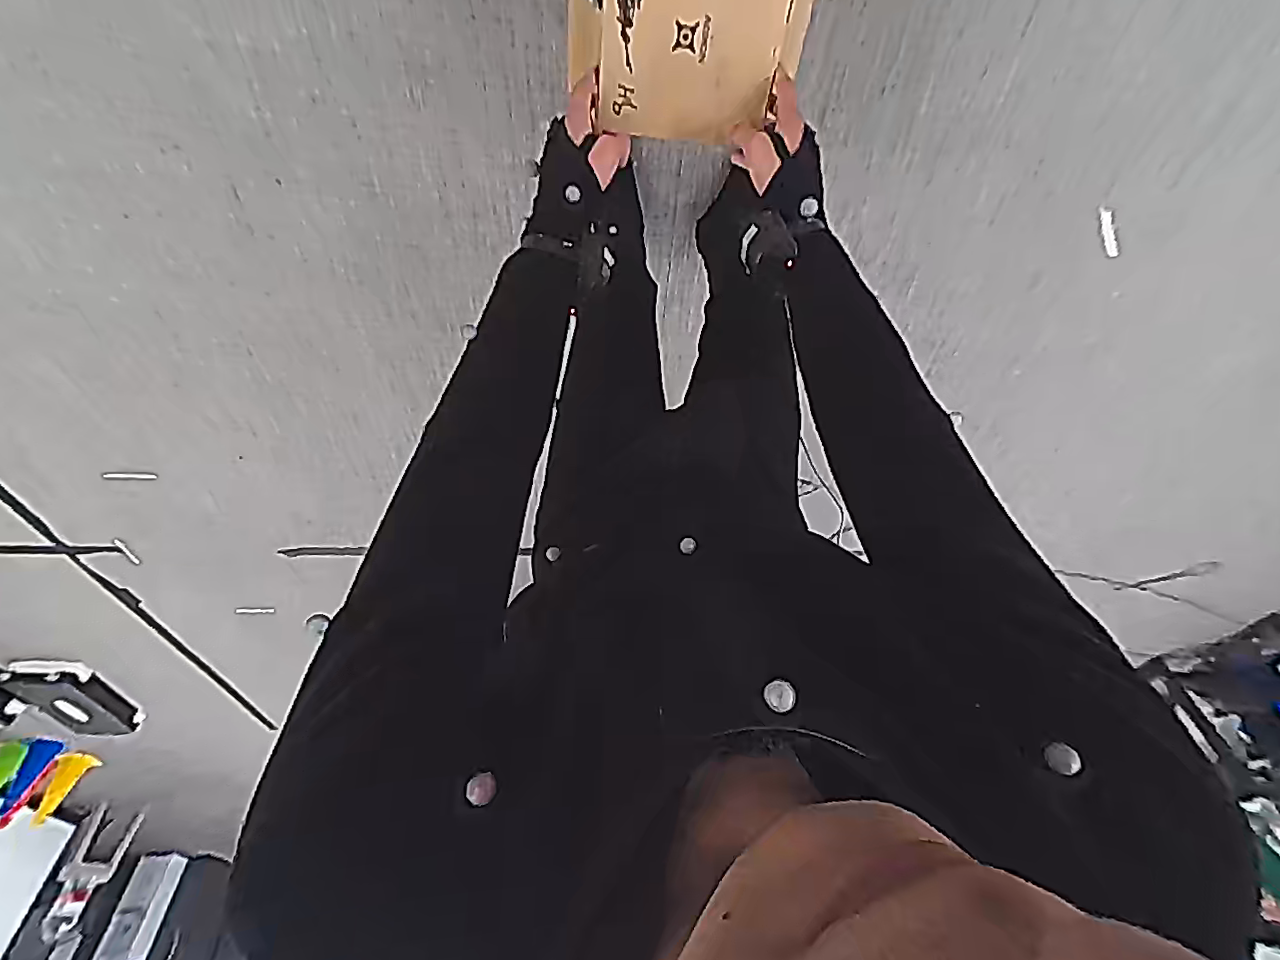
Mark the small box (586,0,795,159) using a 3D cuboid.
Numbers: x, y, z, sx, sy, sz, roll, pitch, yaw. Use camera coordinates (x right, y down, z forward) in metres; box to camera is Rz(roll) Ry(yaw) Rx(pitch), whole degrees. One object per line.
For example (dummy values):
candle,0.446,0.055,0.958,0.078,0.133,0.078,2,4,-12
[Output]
small box,0.040,-0.455,0.564,0.179,0.176,0.168,1,131,-10
